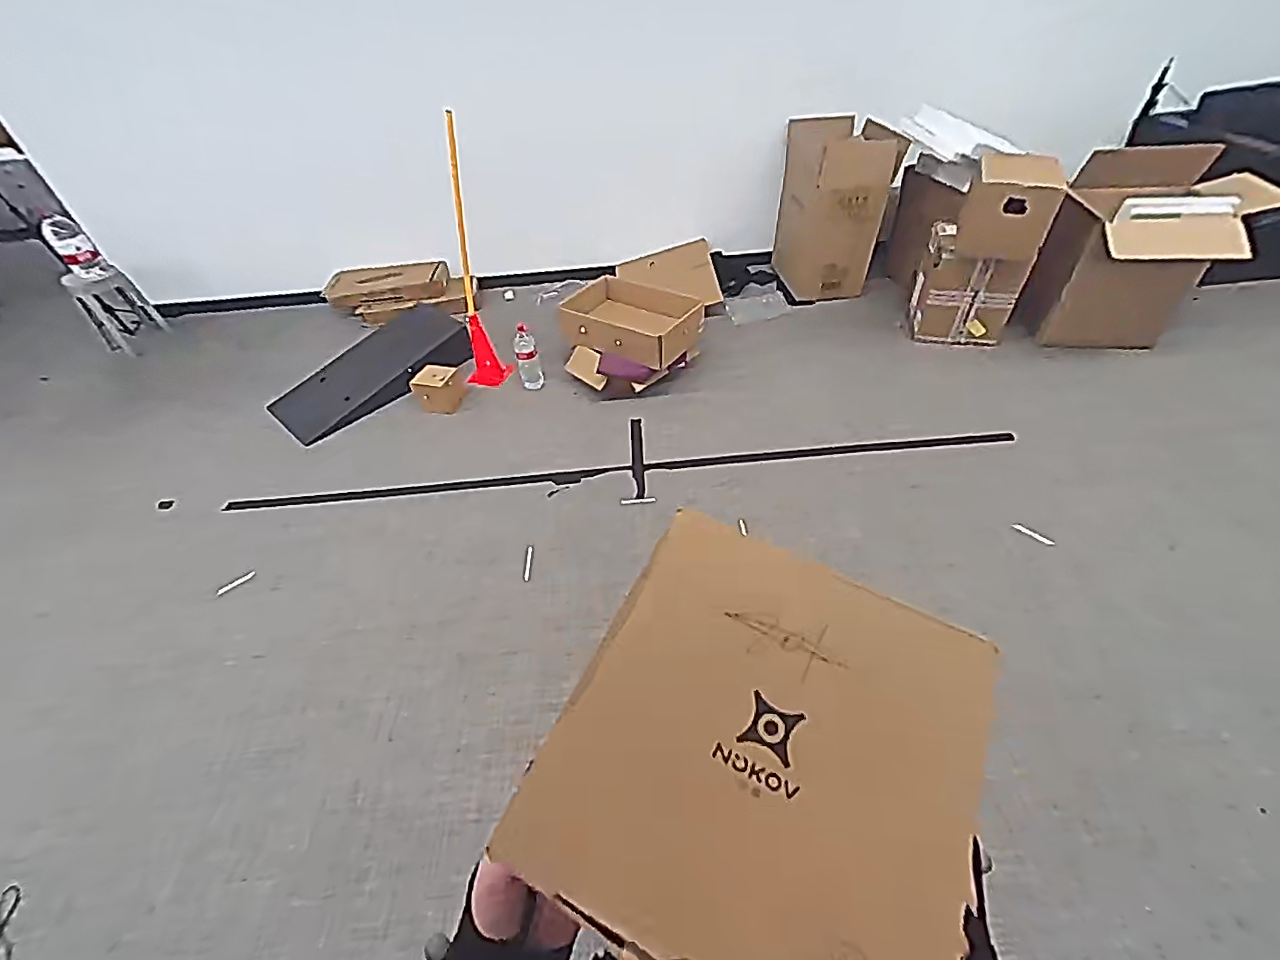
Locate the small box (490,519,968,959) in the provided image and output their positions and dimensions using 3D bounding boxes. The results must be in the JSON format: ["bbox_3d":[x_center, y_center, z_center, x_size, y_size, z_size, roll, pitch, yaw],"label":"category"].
[{"bbox_3d":[0.048,0.160,0.304,0.168,0.176,0.179,23,57,14],"label":"small box"}]
